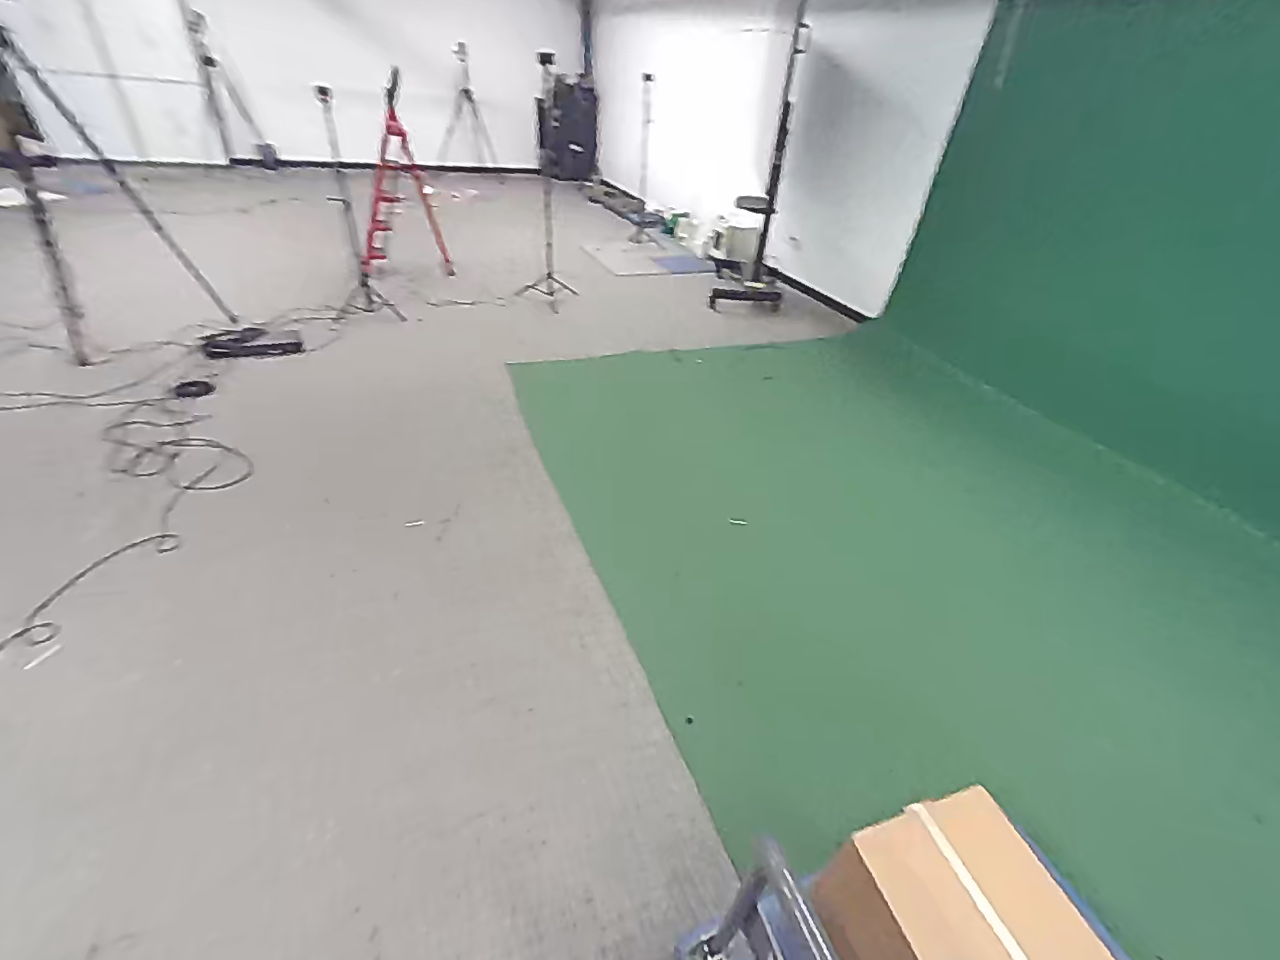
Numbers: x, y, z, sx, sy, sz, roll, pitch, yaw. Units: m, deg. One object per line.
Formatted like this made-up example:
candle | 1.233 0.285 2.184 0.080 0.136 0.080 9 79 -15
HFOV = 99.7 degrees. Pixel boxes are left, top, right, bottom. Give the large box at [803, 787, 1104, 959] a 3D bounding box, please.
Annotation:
large box | 0.563 0.859 0.970 0.320 0.320 0.408 -7 39 -17
